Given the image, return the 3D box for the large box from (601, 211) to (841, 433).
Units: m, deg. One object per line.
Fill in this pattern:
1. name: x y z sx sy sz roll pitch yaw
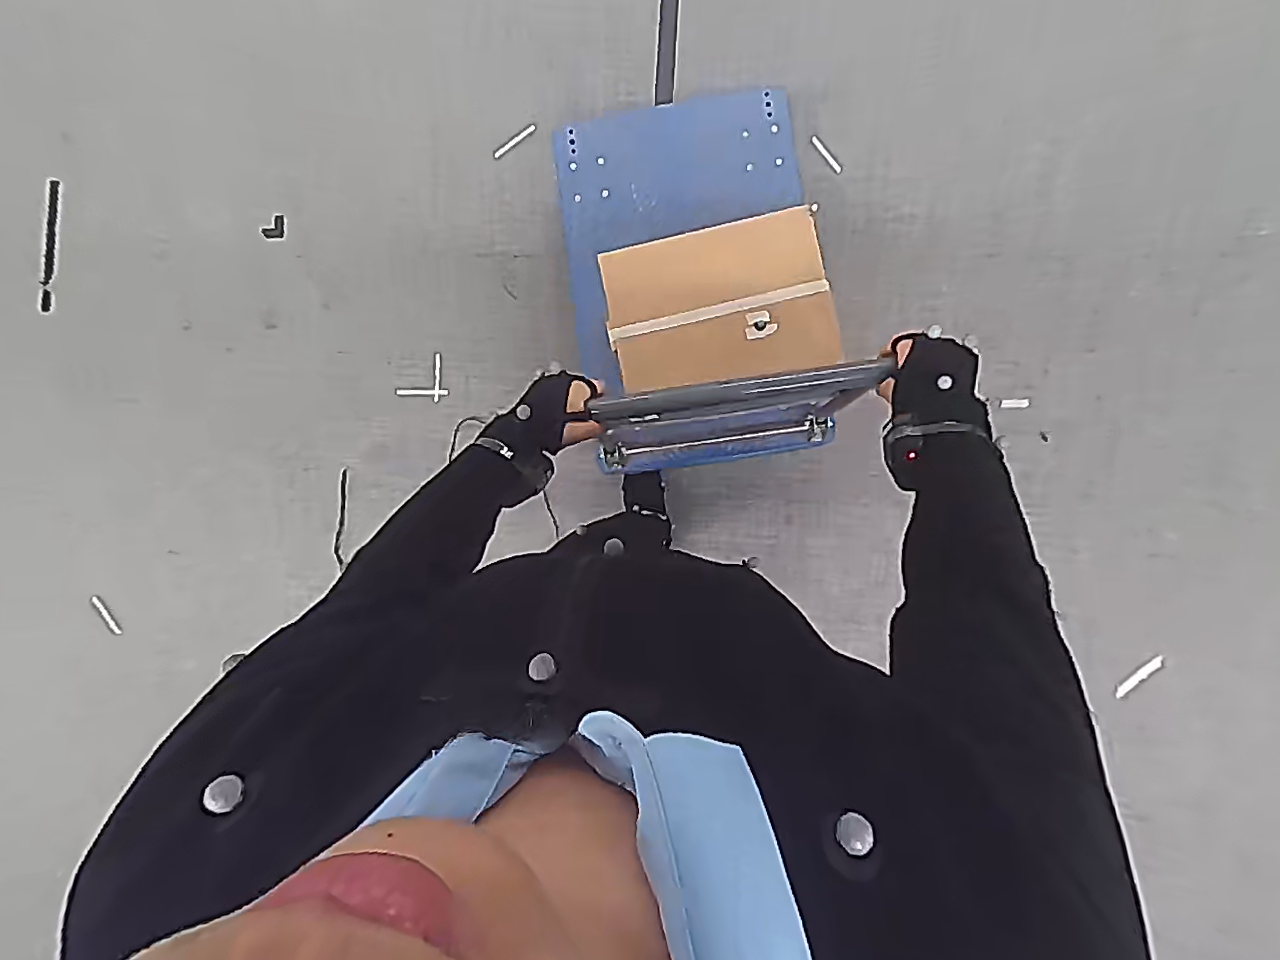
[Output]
1. large box: 0.157 -0.307 1.162 0.408 0.320 0.320 -12 89 3
